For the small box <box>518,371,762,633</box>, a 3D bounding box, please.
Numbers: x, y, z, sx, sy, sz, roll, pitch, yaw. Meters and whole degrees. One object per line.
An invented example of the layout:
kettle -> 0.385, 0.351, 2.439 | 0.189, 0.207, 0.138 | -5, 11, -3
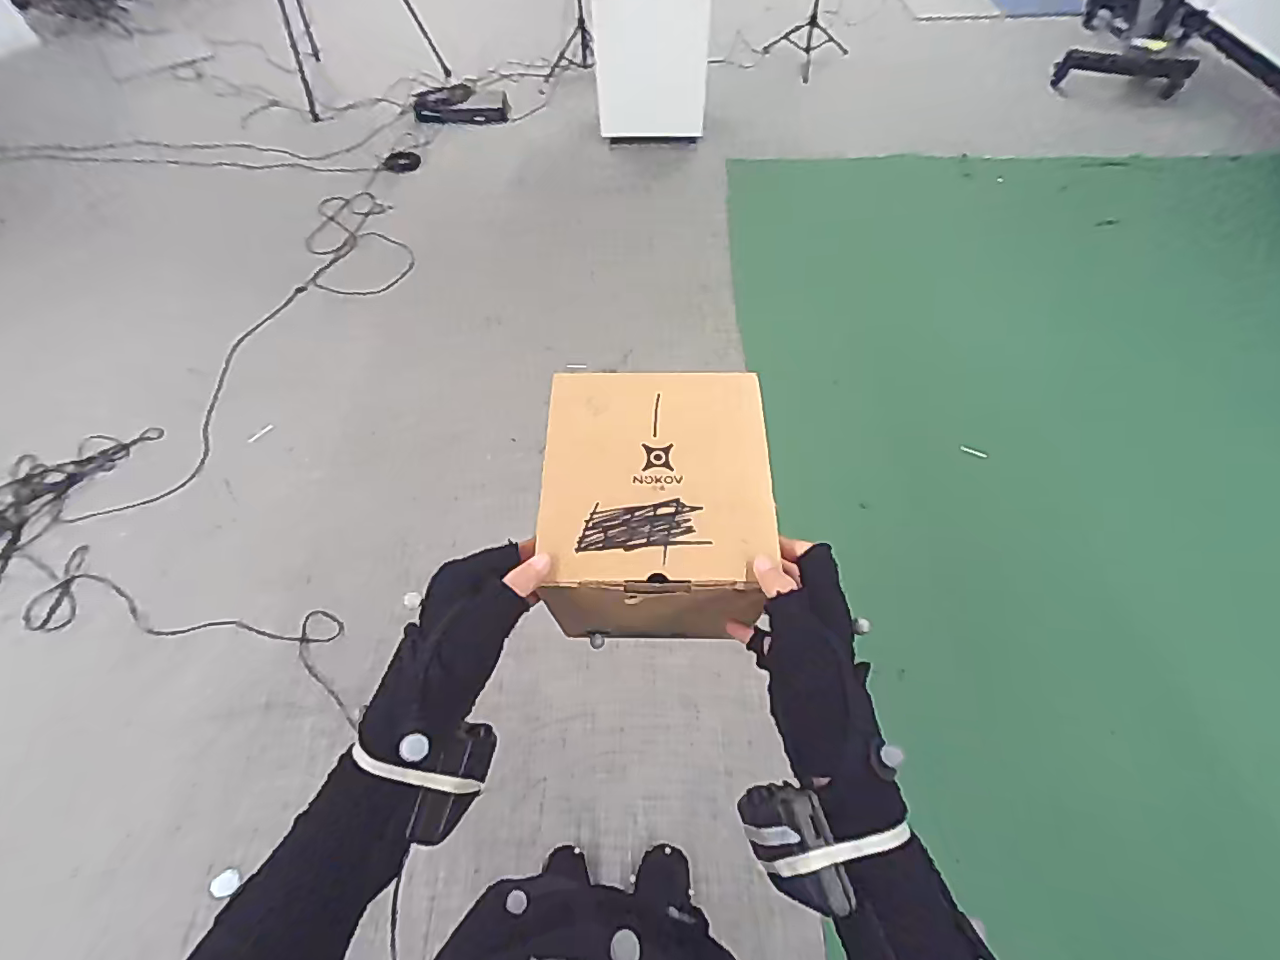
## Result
small box -> 0.004, 0.028, 0.464 | 0.168, 0.176, 0.179 | 1, 61, 1
